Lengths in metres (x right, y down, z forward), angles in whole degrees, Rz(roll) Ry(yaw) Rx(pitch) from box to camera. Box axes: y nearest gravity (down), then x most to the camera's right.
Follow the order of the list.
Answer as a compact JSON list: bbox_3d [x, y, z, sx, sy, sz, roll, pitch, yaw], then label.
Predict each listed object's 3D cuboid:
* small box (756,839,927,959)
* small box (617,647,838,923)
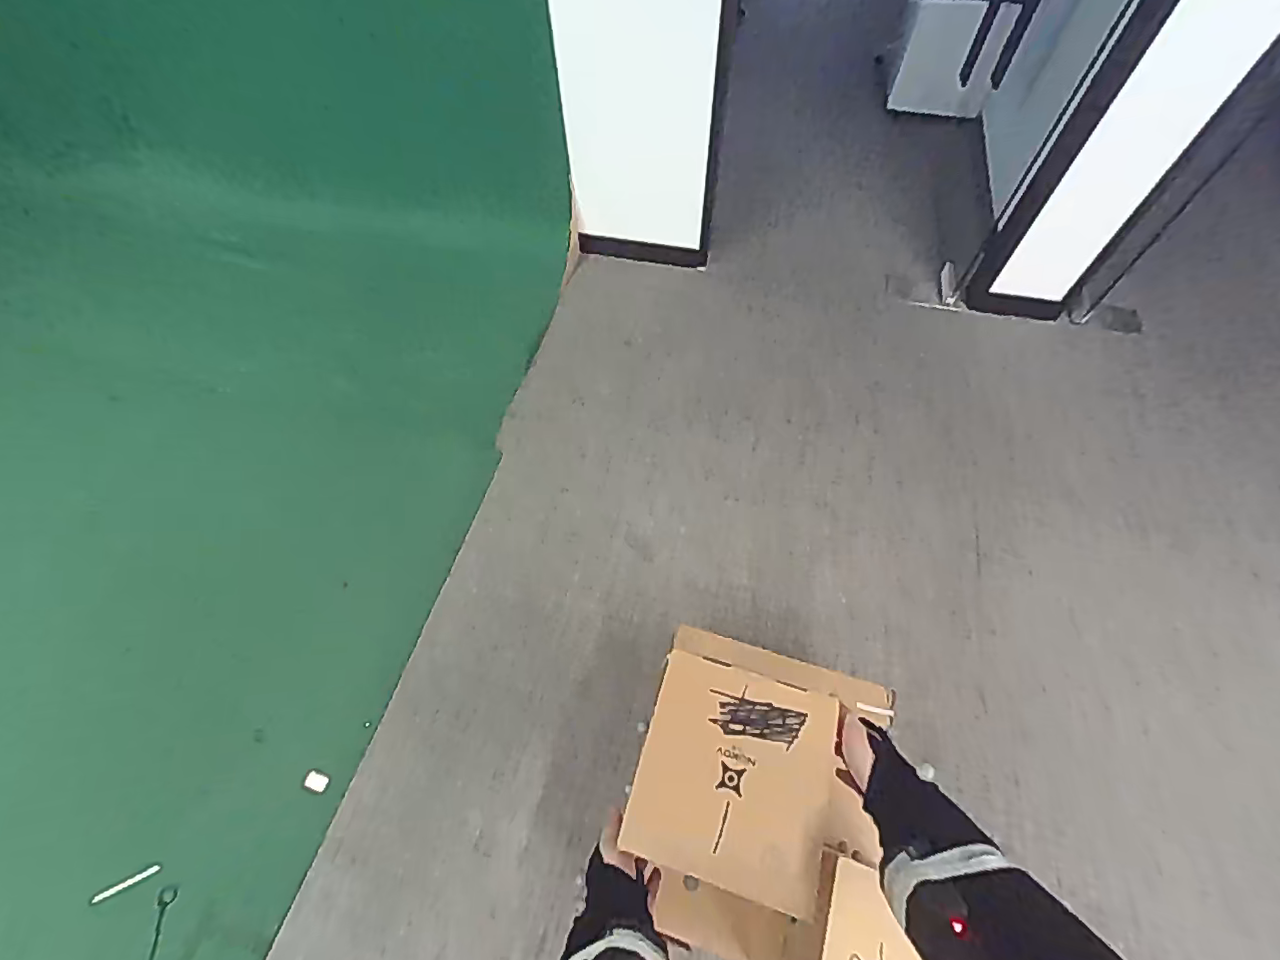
[{"bbox_3d":[0.264,0.607,0.731,0.168,0.176,0.179,16,58,11],"label":"small box"},{"bbox_3d":[0.084,0.297,0.545,0.168,0.176,0.179,15,60,11],"label":"small box"}]
